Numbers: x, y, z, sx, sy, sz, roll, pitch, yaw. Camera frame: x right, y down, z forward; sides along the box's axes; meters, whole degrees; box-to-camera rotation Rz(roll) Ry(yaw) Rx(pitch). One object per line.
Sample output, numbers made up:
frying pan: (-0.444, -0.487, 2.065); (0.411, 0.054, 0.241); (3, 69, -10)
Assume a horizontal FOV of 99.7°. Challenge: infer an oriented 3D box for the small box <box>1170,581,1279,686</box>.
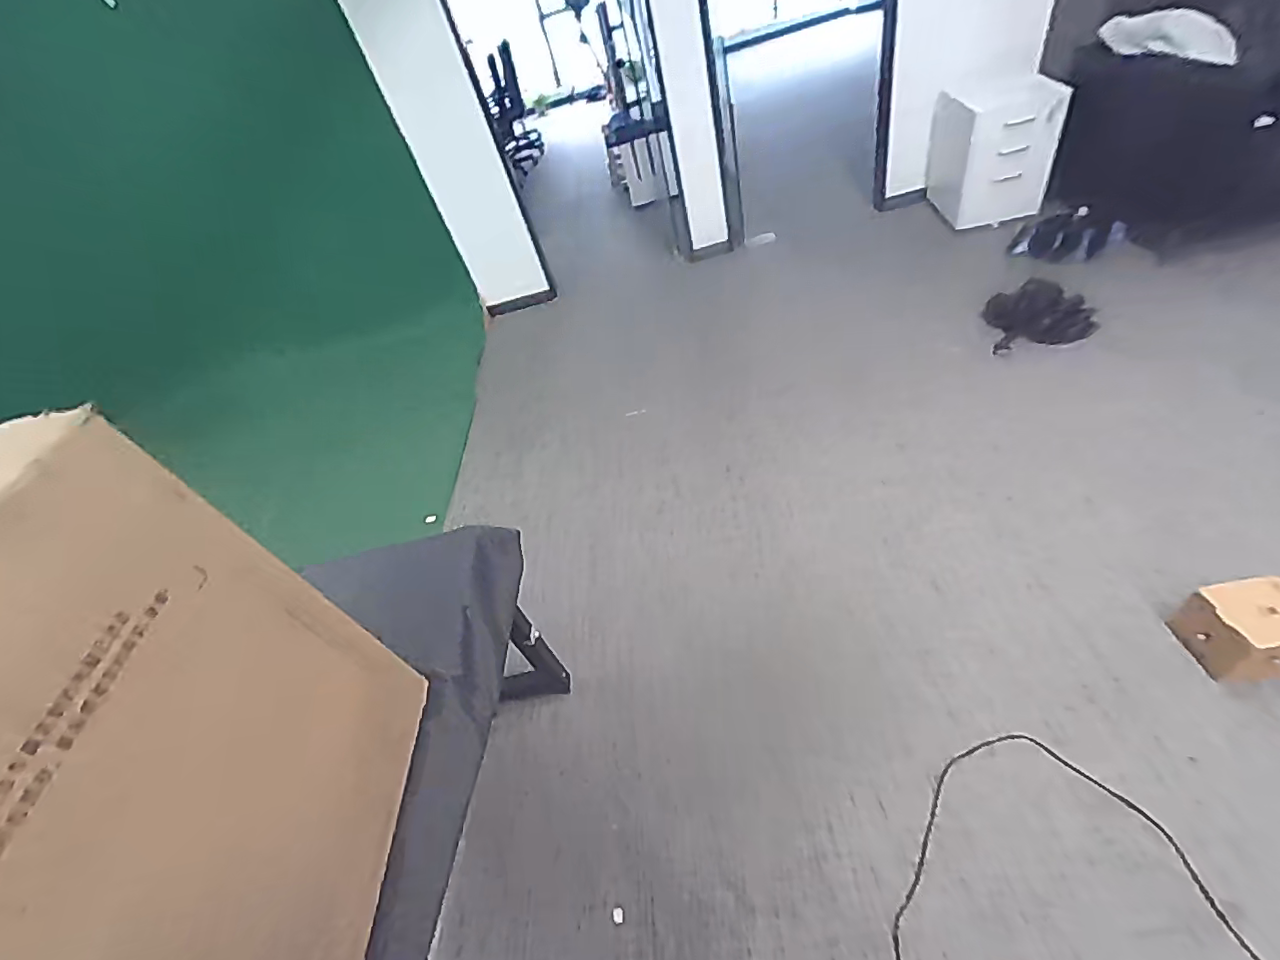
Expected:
small box: (1.428, 0.370, 1.289); (0.179, 0.176, 0.168); (-12, 42, 8)
